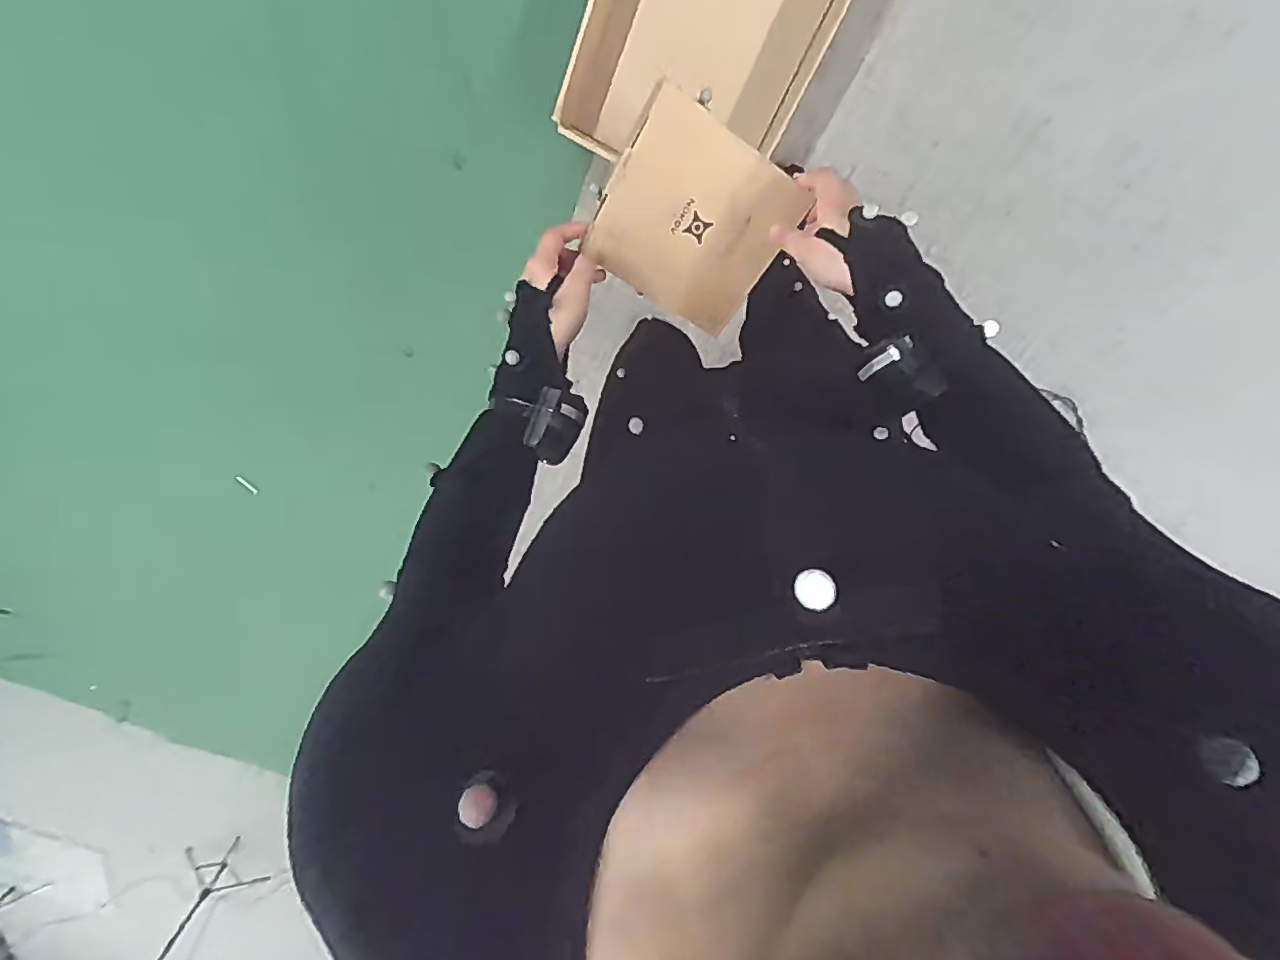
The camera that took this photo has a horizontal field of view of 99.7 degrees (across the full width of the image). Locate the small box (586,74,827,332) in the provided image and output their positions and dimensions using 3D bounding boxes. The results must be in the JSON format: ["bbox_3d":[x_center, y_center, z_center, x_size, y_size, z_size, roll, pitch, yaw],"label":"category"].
[{"bbox_3d":[0.060,-0.296,0.582,0.179,0.176,0.168,25,123,-18],"label":"small box"}]
